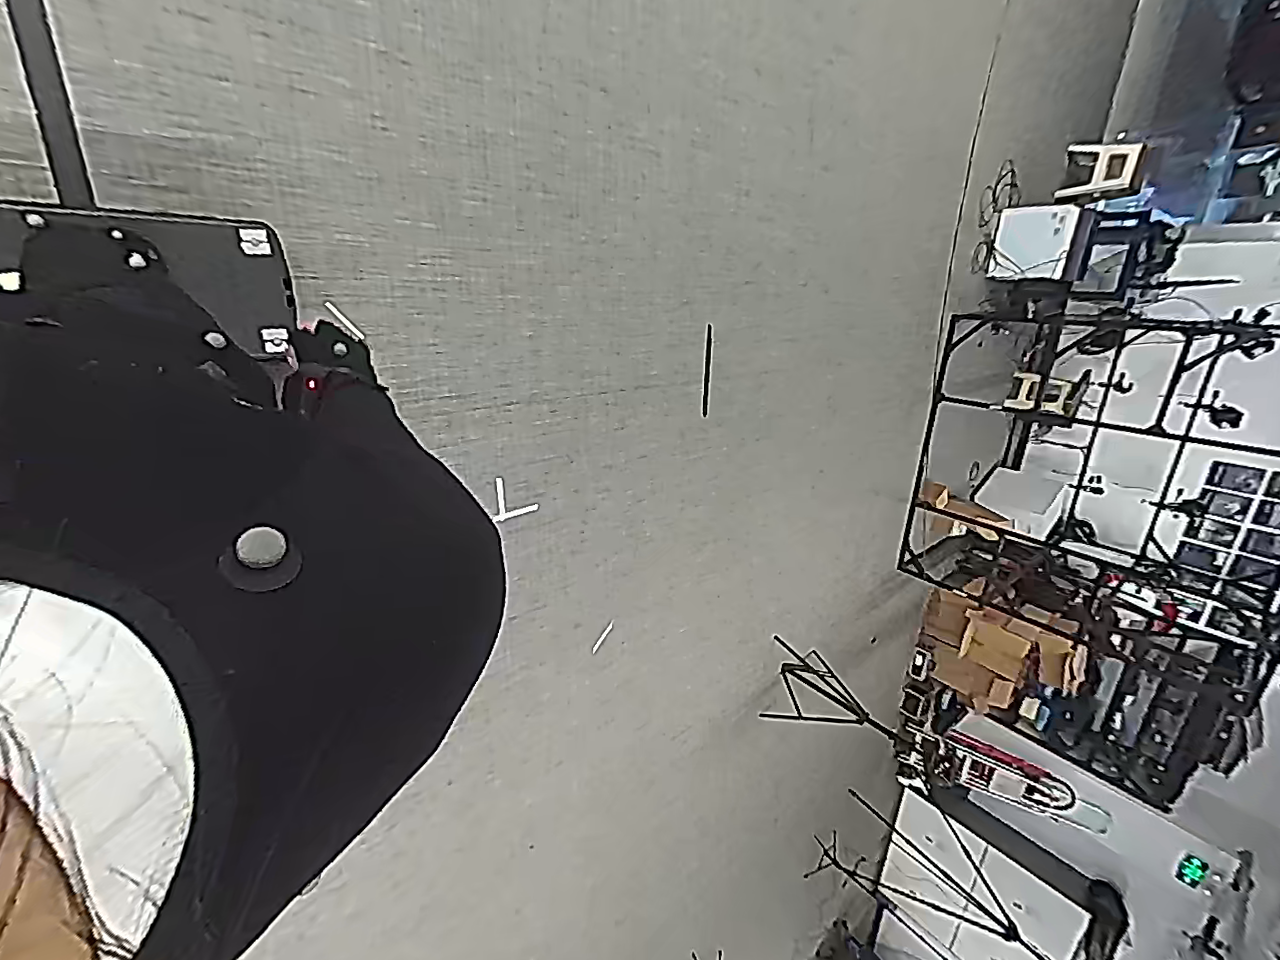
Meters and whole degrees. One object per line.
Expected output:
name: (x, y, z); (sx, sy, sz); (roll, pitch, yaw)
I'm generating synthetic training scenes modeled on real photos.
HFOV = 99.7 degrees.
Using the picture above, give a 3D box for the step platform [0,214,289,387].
step platform: (-1.070, -0.340, 1.018); (0.684, 0.204, 0.286); (-16, 117, -39)
